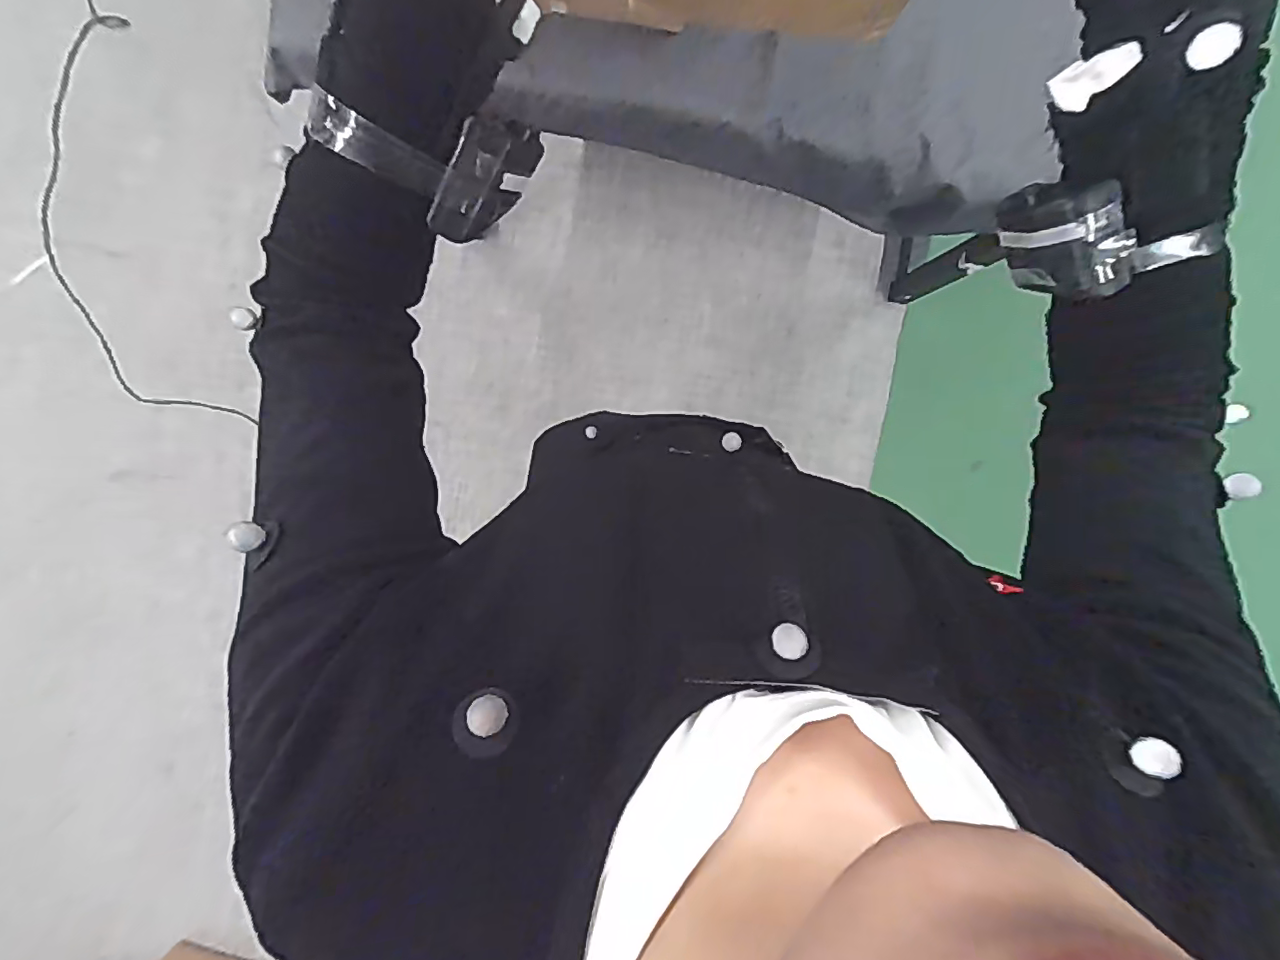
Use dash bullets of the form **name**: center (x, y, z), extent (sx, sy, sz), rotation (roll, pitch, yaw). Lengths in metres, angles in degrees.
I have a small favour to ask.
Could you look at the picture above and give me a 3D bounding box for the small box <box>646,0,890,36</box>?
- **small box**: center (0.092, -0.379, 0.281), extent (0.179, 0.176, 0.168), rotation (2, 96, -6)
